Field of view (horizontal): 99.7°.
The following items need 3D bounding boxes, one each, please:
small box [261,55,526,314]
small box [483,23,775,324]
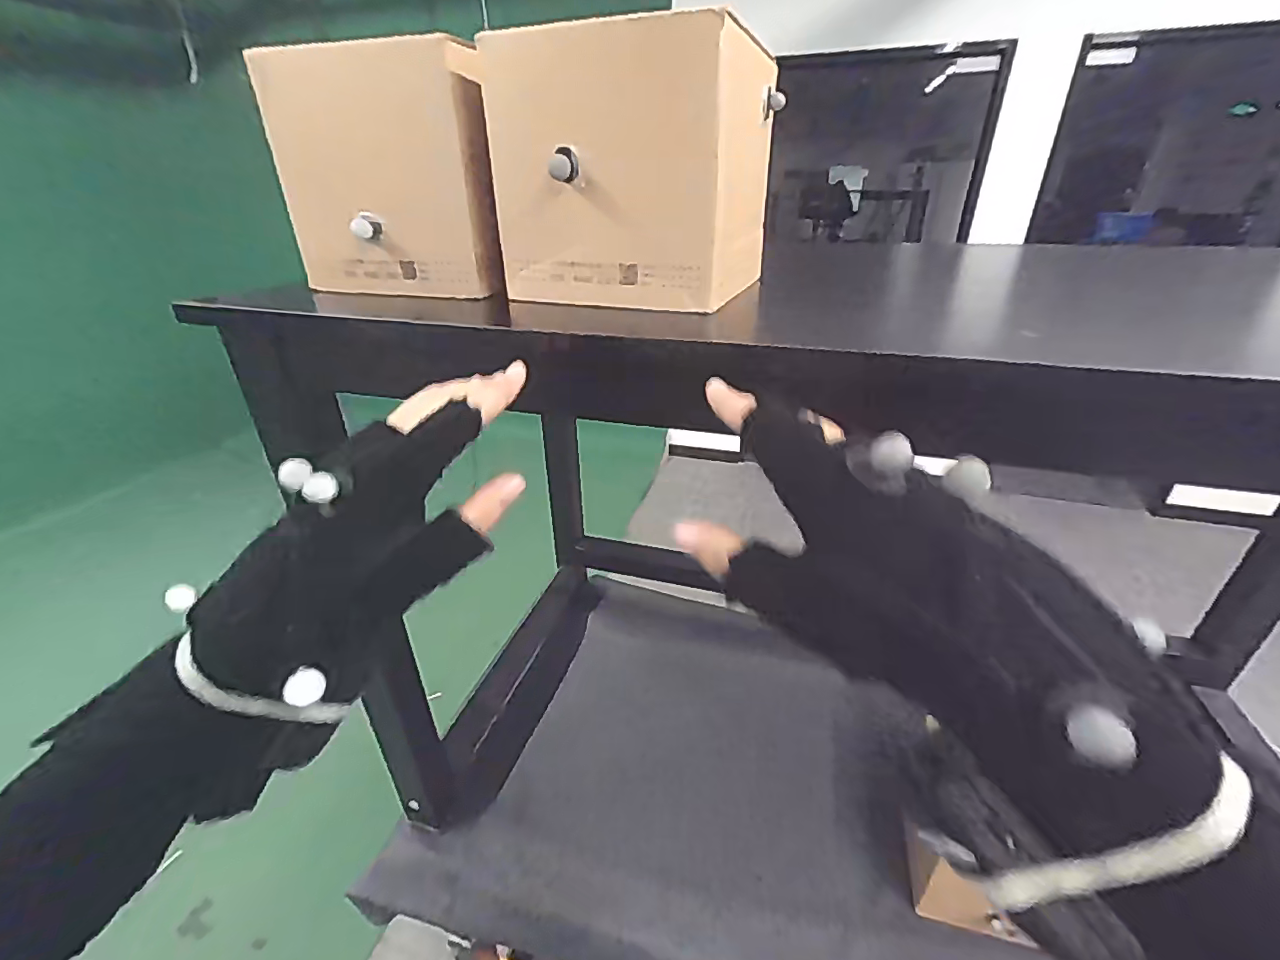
[{"bbox_3d":[-0.176,-0.255,0.481,0.168,0.176,0.179,7,31,14],"label":"small box"},{"bbox_3d":[0.005,-0.227,0.430,0.168,0.176,0.179,10,30,19],"label":"small box"}]
